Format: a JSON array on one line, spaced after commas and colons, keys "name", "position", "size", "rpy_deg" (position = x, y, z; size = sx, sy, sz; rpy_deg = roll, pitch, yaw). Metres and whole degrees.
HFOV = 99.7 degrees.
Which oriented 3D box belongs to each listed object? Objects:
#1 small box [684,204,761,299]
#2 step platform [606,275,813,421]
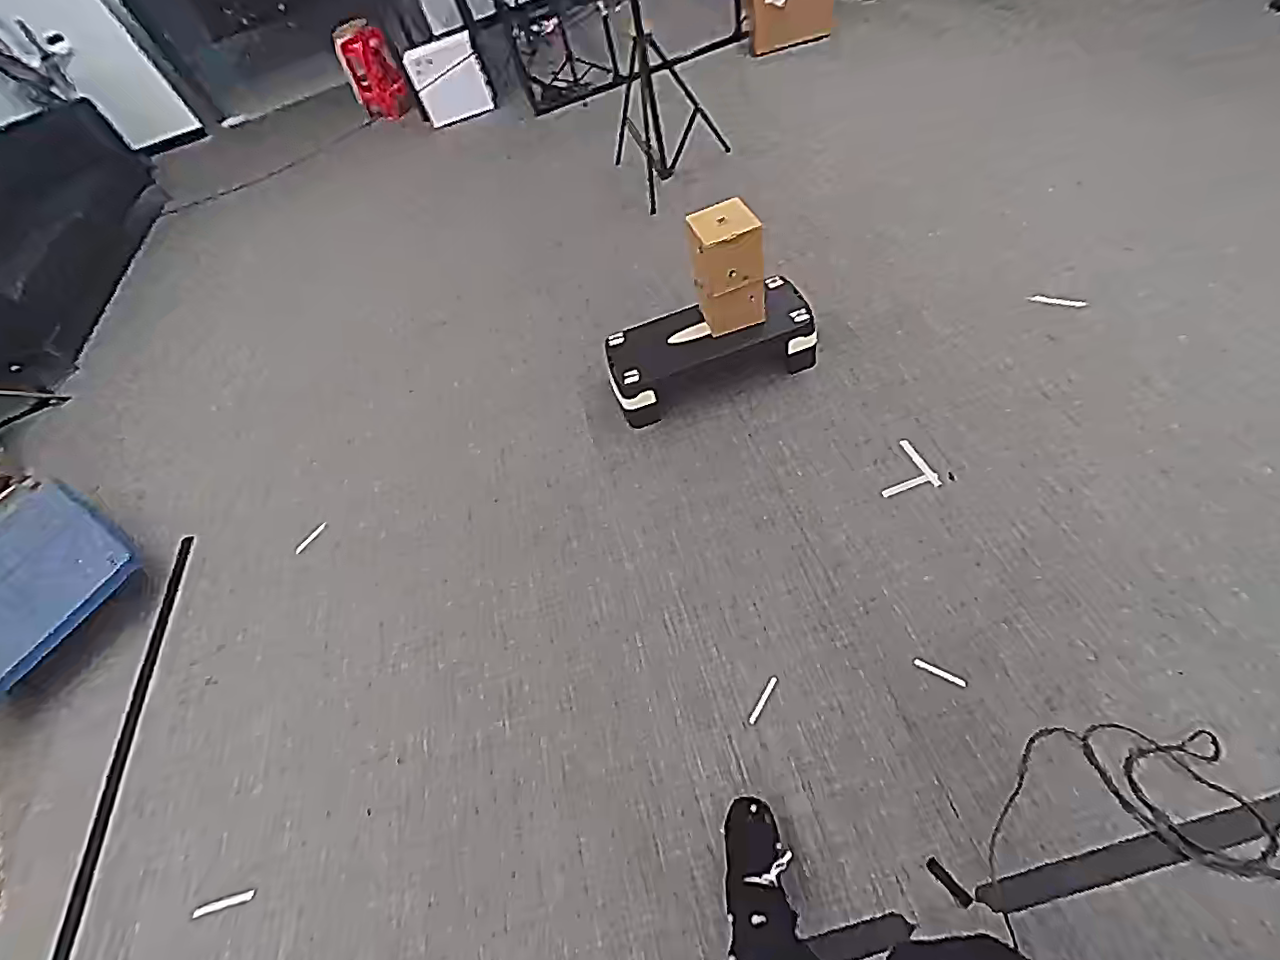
[{"name": "small box", "position": [0.240, -0.661, 1.572], "size": [0.168, 0.176, 0.179], "rpy_deg": [-21, 54, -1]}, {"name": "step platform", "position": [0.230, -0.454, 1.850], "size": [0.684, 0.204, 0.286], "rpy_deg": [-20, 52, 2]}]
